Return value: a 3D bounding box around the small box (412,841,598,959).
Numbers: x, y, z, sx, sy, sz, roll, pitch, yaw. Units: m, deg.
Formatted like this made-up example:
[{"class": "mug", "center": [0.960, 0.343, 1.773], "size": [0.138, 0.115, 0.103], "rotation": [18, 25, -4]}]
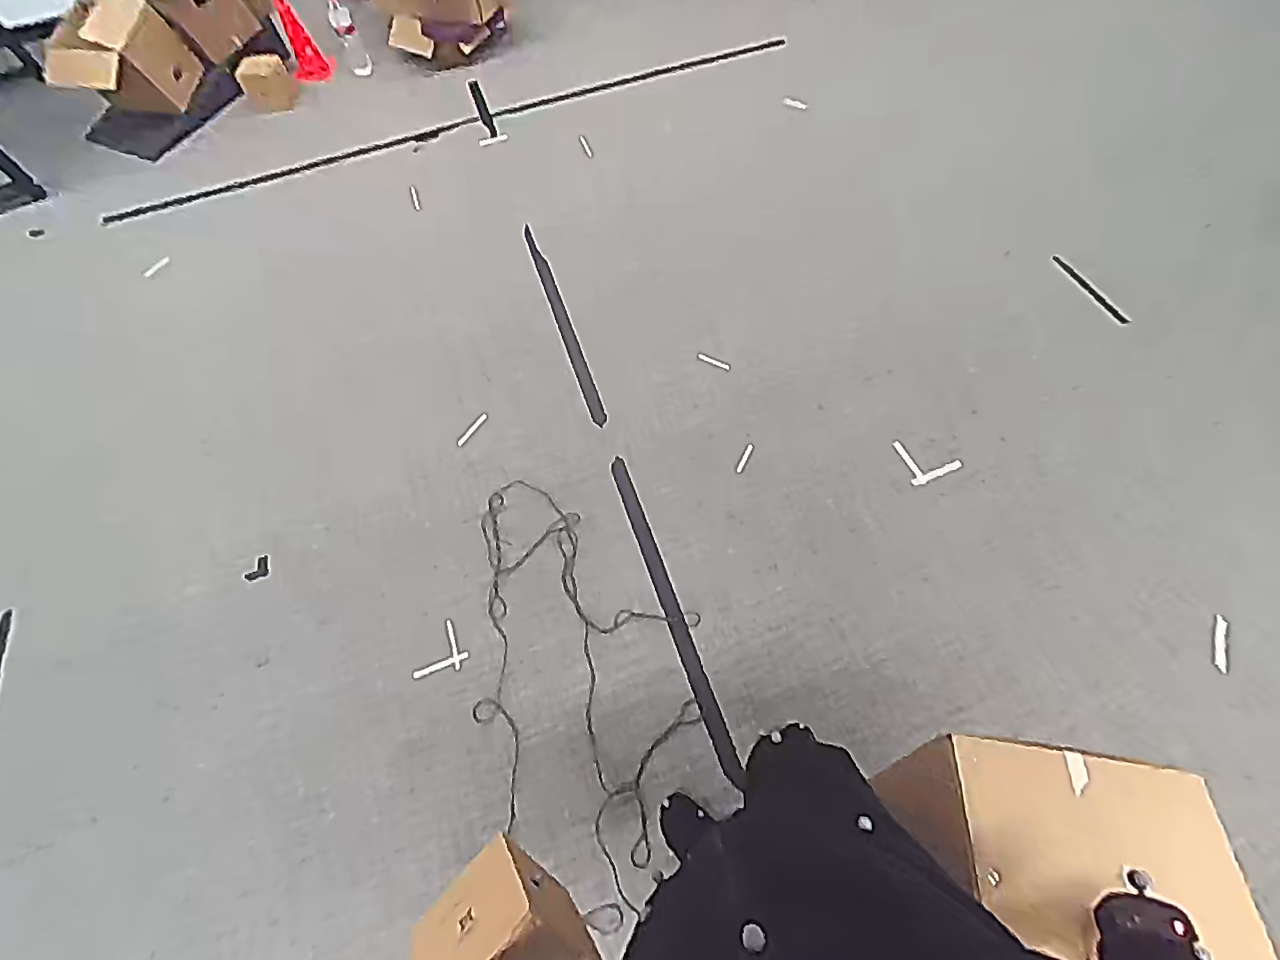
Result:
[{"class": "small box", "center": [-0.174, 0.645, 0.720], "size": [0.168, 0.179, 0.176], "rotation": [-43, 107, -22]}]
